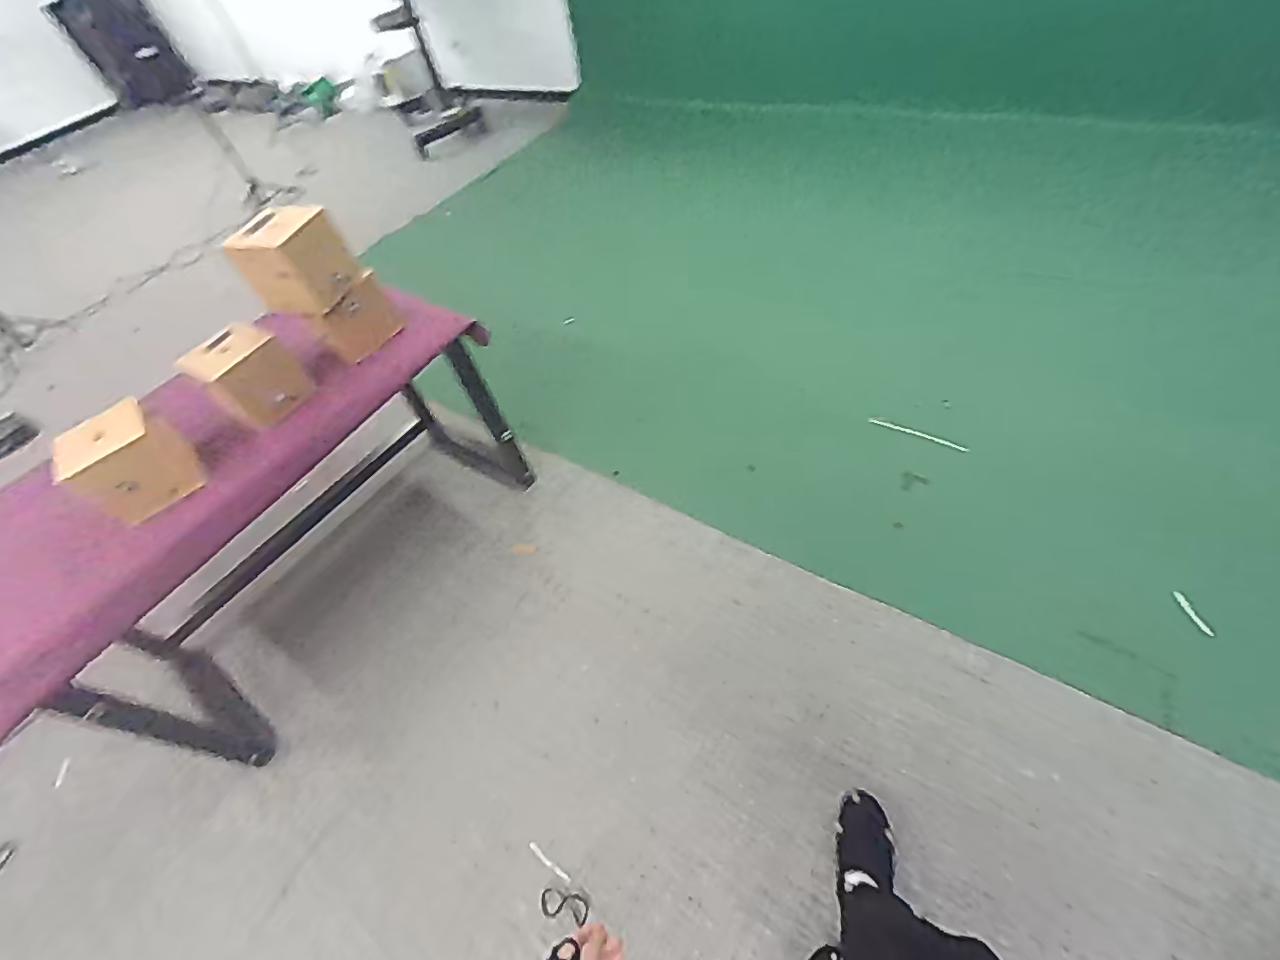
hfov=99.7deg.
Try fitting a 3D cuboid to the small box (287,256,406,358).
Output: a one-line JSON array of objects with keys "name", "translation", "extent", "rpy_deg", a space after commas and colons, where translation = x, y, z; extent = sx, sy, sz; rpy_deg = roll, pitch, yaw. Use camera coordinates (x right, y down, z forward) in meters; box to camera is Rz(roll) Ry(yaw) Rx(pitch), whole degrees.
[{"name": "small box", "translation": [-0.744, -0.441, 1.388], "extent": [0.168, 0.176, 0.179], "rpy_deg": [27, 62, 29]}]

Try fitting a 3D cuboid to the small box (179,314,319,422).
[{"name": "small box", "translation": [-0.919, -0.262, 1.283], "extent": [0.179, 0.176, 0.168], "rpy_deg": [22, 60, 25]}]

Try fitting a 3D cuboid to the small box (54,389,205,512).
[{"name": "small box", "translation": [-1.082, -0.056, 1.157], "extent": [0.168, 0.176, 0.179], "rpy_deg": [-39, 54, -18]}]
